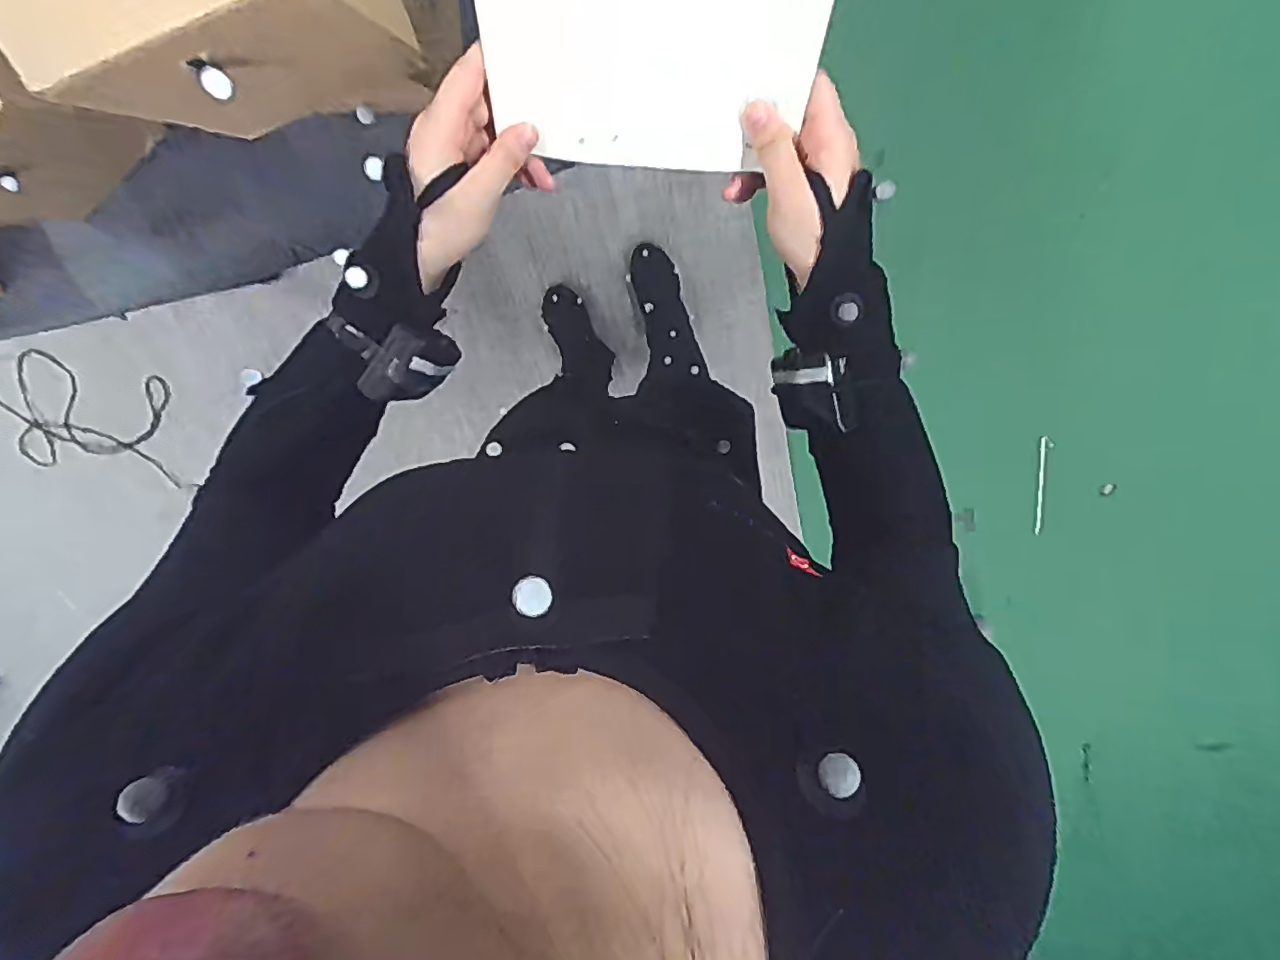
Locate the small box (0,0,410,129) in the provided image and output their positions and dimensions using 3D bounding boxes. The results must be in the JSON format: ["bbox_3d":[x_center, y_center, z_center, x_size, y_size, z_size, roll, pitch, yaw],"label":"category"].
[{"bbox_3d":[-0.265,-0.332,0.318,0.179,0.176,0.168,-13,115,11],"label":"small box"}]

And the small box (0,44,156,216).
[{"bbox_3d":[-0.628,-0.367,0.507,0.179,0.176,0.168,-28,113,15],"label":"small box"}]

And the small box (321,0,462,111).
[{"bbox_3d":[-0.265,-0.427,0.452,0.168,0.176,0.179,2,118,3],"label":"small box"}]
